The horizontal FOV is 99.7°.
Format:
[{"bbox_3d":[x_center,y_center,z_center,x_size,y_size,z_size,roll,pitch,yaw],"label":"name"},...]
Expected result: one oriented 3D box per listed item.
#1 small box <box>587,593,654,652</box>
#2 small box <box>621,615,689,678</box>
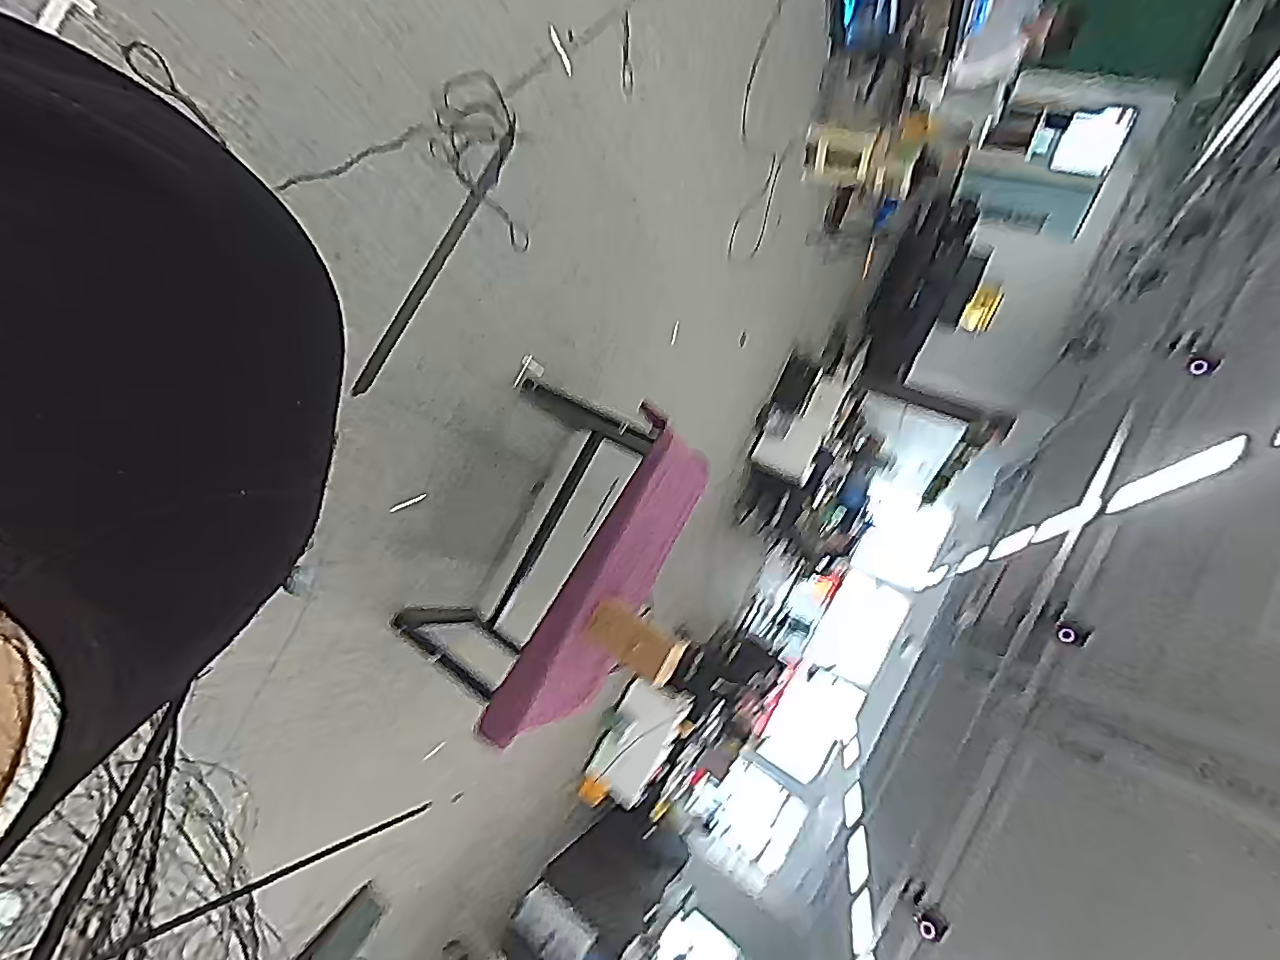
[{"bbox_3d":[-0.077,0.552,2.091,0.168,0.176,0.179,-61,156,-6],"label":"small box"},{"bbox_3d":[0.058,0.622,2.028,0.168,0.176,0.179,-62,155,-6],"label":"small box"}]
